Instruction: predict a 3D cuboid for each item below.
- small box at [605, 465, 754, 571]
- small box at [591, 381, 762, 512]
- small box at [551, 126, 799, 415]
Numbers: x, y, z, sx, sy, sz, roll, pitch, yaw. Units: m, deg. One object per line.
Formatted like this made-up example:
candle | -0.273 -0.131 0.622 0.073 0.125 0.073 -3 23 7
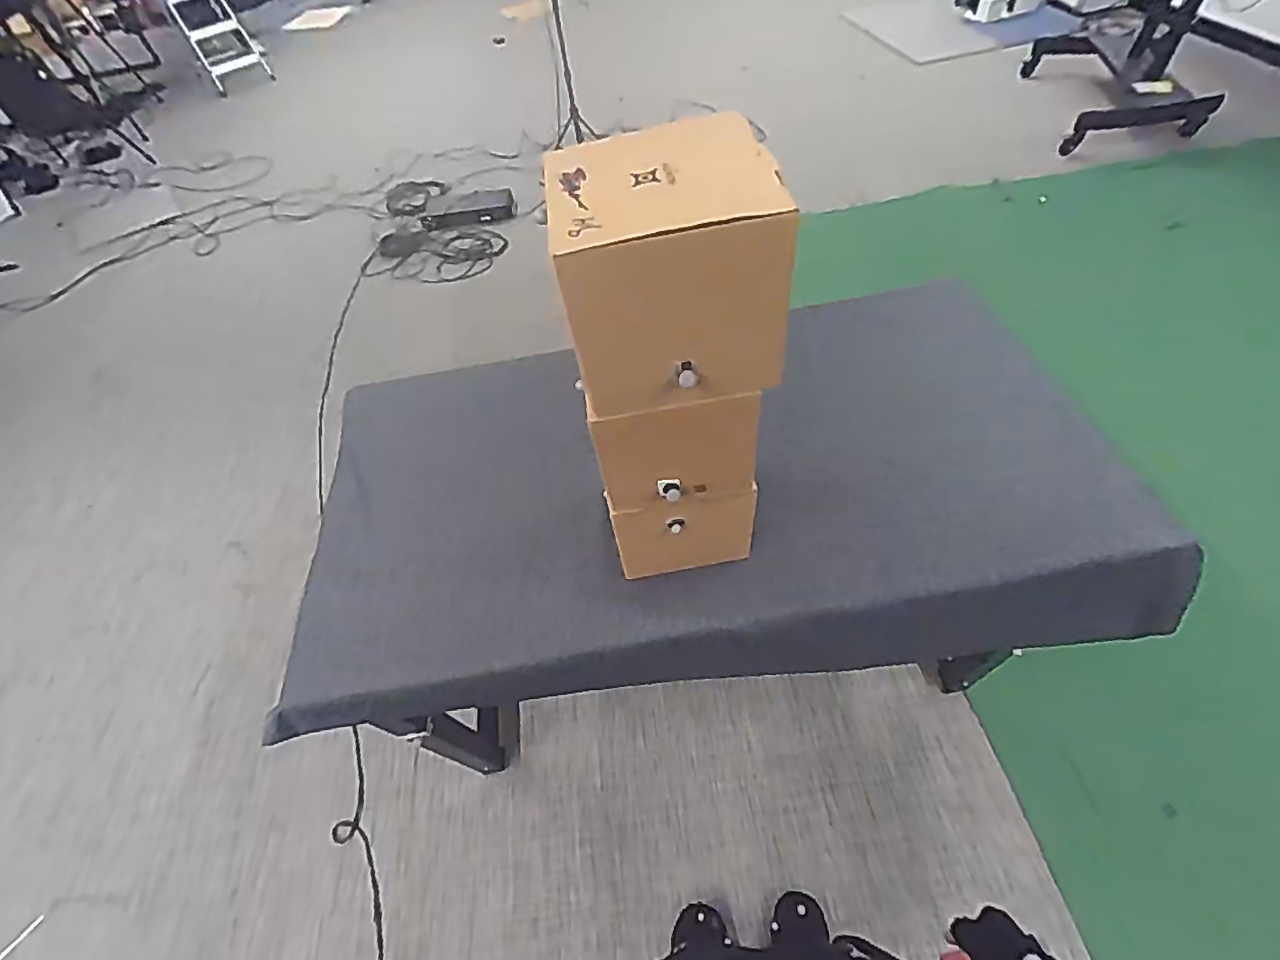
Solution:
small box | 0.049 0.010 0.750 0.179 0.176 0.168 -10 53 -1
small box | 0.034 -0.088 0.622 0.168 0.176 0.179 -10 54 1
small box | 0.025 -0.182 0.488 0.179 0.176 0.168 -10 53 1
